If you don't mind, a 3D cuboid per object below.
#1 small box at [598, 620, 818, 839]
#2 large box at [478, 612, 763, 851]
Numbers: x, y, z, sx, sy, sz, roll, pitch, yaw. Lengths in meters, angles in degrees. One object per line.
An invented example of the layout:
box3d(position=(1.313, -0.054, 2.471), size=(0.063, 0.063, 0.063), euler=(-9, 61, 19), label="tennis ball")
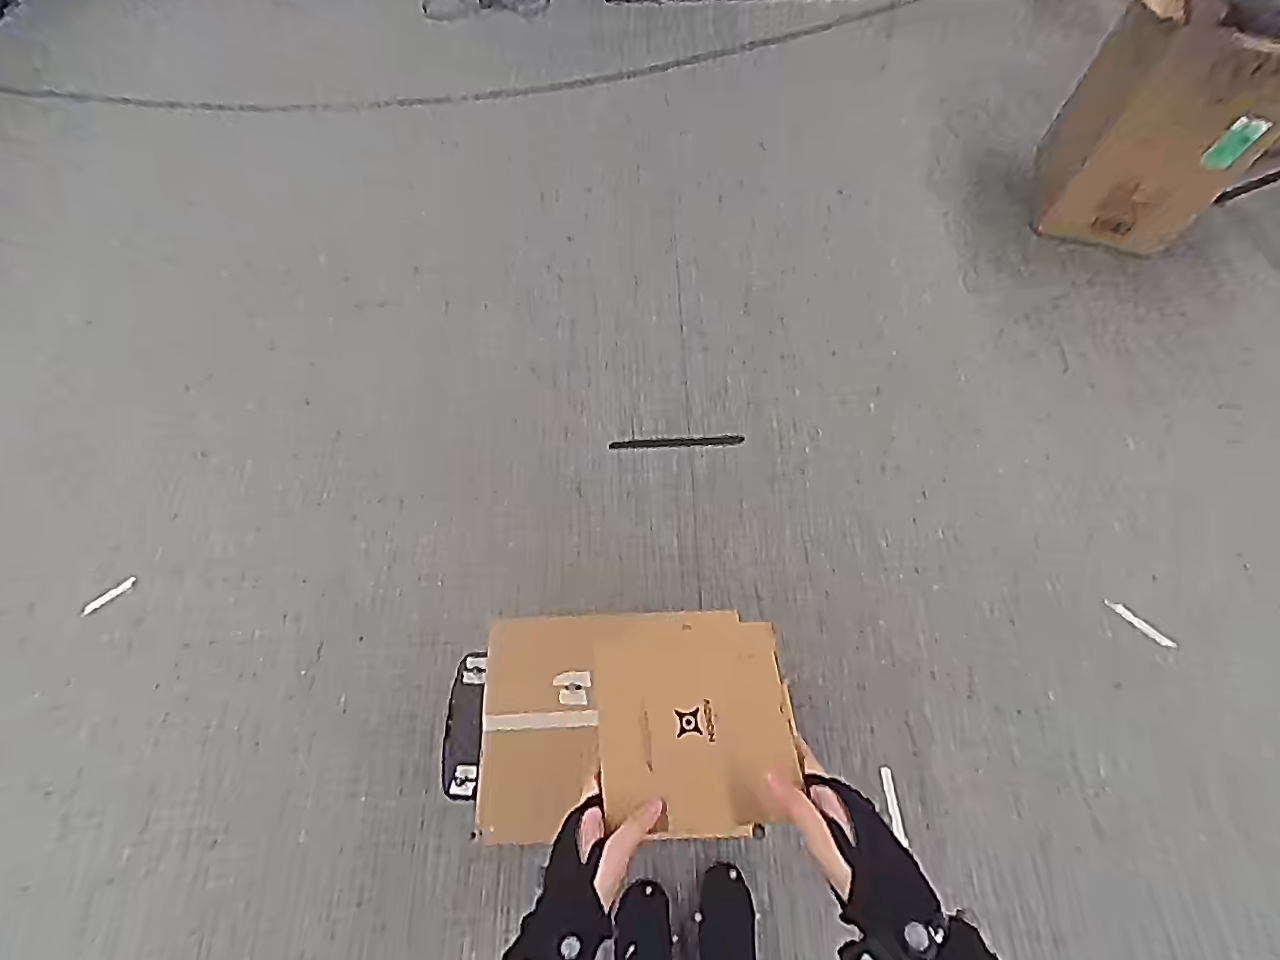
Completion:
box3d(position=(0.062, 0.252, 0.544), size=(0.179, 0.176, 0.168), euler=(-9, 58, 5), label="small box")
box3d(position=(-0.027, 0.424, 0.941), size=(0.408, 0.320, 0.320), euler=(-3, 64, 1), label="large box")
